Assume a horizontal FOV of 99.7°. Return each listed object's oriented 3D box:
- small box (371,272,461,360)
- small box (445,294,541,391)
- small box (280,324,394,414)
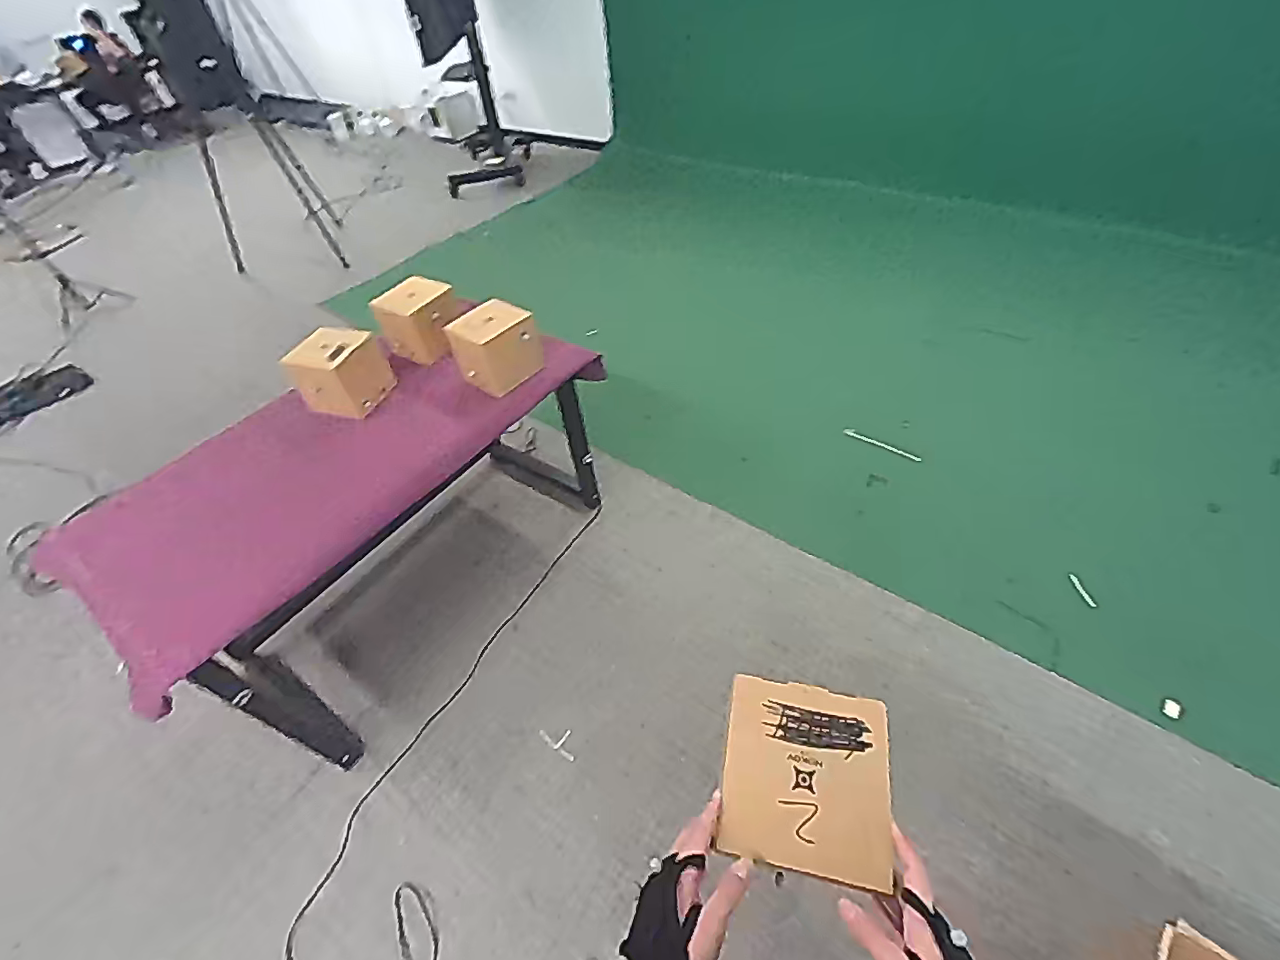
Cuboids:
[{"bbox_3d":[-0.651,-0.489,1.613,0.168,0.176,0.179,22,56,23],"label":"small box"},{"bbox_3d":[-0.389,-0.374,1.473,0.168,0.176,0.179,29,59,30],"label":"small box"},{"bbox_3d":[-0.805,-0.297,1.461,0.179,0.176,0.168,10,50,16],"label":"small box"}]
